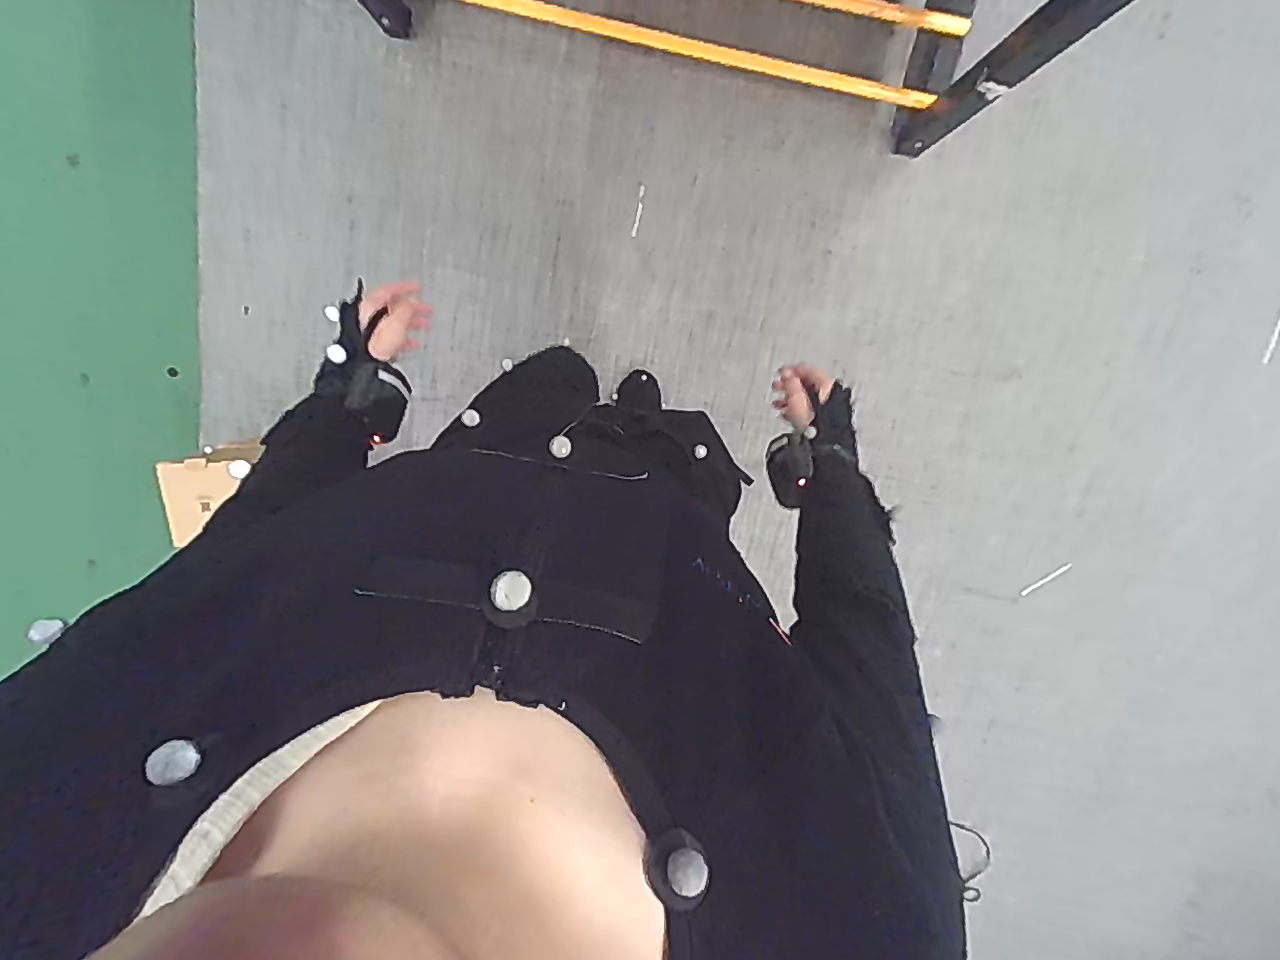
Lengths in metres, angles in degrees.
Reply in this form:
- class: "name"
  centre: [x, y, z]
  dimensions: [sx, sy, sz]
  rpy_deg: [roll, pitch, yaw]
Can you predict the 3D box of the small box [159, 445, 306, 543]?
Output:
- class: "small box"
  centre: [-0.843, 0.021, 1.139]
  dimensions: [0.168, 0.176, 0.179]
  rpy_deg: [-1, 105, 3]
